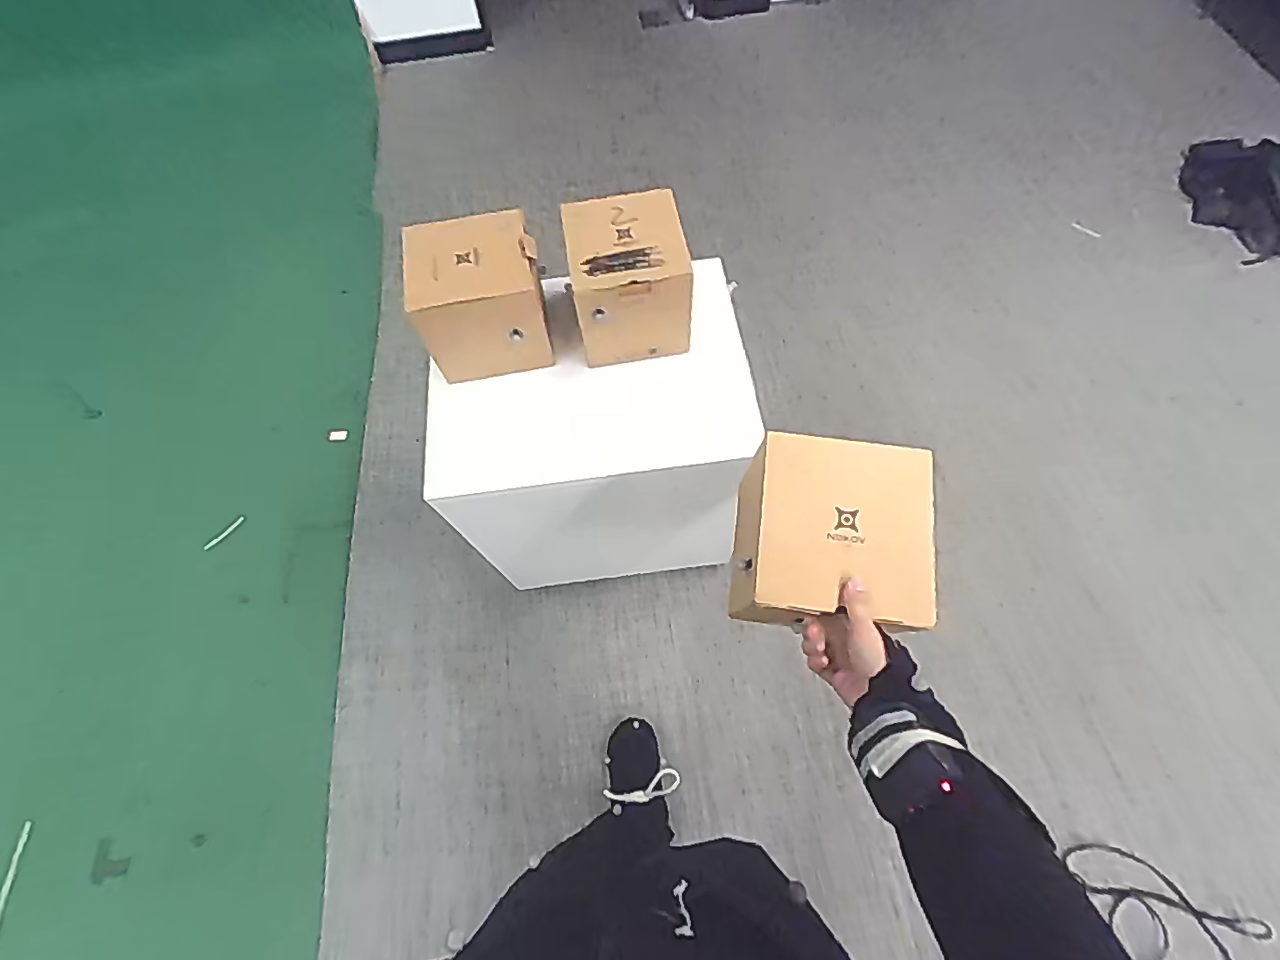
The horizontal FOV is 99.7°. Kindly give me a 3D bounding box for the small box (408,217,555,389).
[{"bbox_3d":[-0.232,-0.262,0.824,0.179,0.176,0.168,-12,64,-3],"label":"small box"}]

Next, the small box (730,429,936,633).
[{"bbox_3d":[0.196,0.065,0.590,0.168,0.176,0.179,7,73,3],"label":"small box"}]
